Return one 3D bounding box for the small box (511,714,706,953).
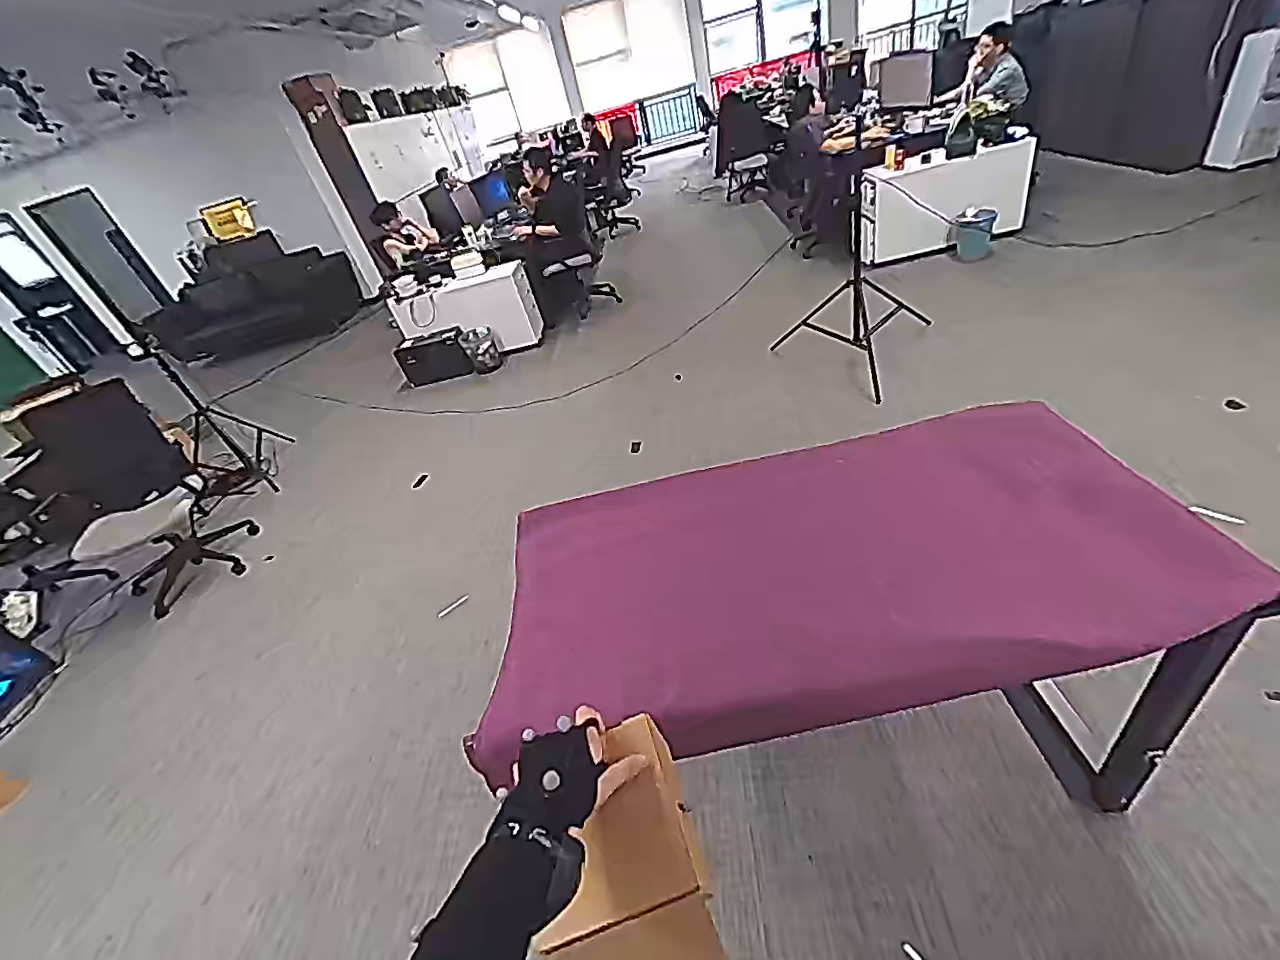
[{"bbox_3d":[-0.032,0.407,0.628,0.168,0.176,0.179,-20,49,-3],"label":"small box"}]
